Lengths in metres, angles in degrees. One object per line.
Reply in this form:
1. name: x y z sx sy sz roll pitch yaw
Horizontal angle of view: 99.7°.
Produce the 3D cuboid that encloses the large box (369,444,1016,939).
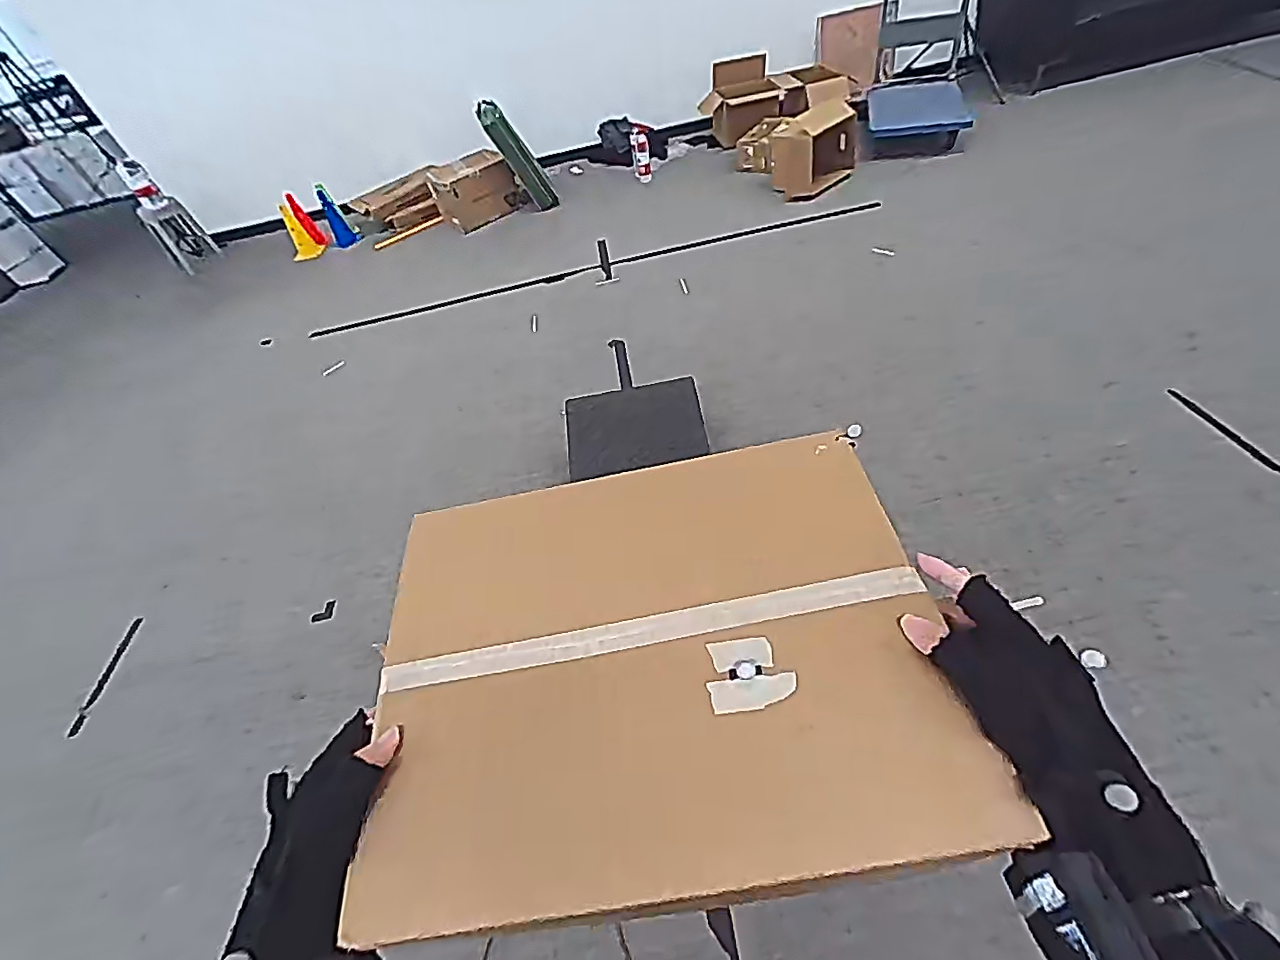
1. large box: 0.031 0.213 0.528 0.408 0.320 0.320 -11 51 3
